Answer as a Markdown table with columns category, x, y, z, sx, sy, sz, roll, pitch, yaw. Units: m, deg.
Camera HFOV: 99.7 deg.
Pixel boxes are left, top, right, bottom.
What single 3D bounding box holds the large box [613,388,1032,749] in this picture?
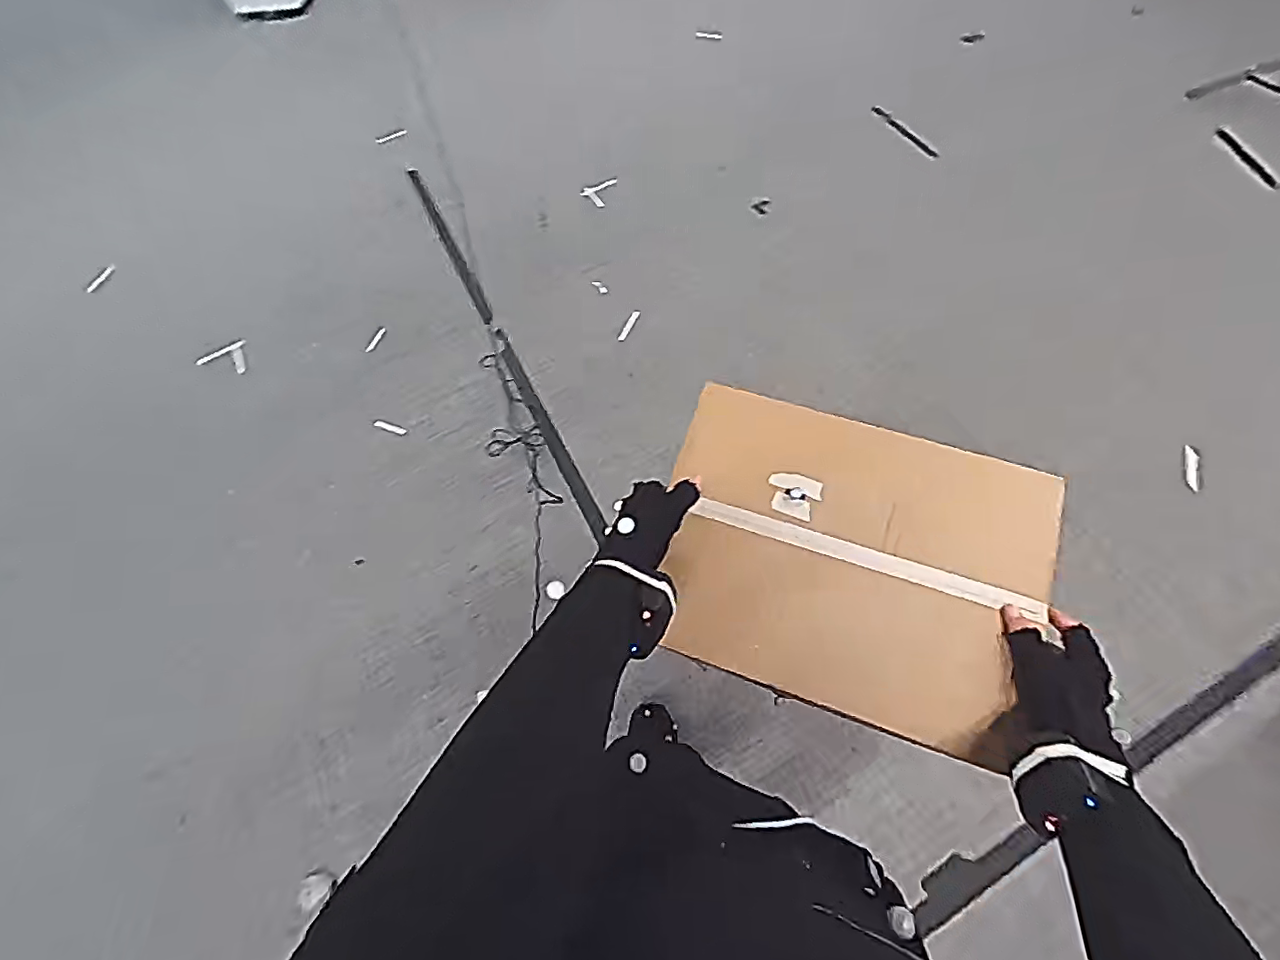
| category | x | y | z | sx | sy | sz | roll | pitch | yaw |
| --- | --- | --- | --- | --- | --- | --- | --- | --- | --- |
| large box | 0.221 | 0.119 | 0.736 | 0.408 | 0.320 | 0.320 | 16 | 73 | 12 |
